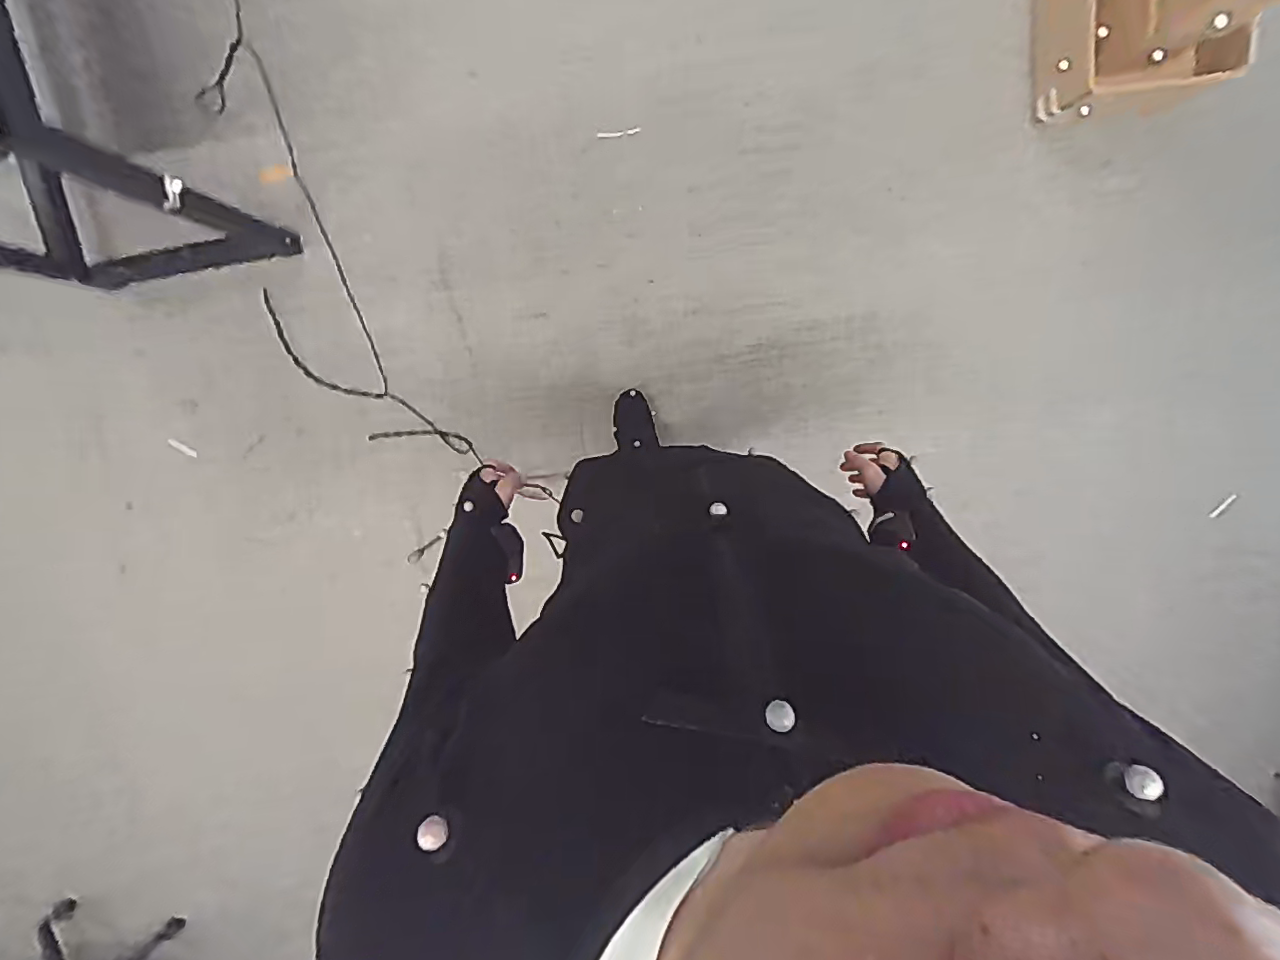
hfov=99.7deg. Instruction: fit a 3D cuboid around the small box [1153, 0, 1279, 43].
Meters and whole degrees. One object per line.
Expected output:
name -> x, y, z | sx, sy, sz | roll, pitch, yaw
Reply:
small box -> 1.269, -1.086, 1.169 | 0.168, 0.176, 0.179 | -4, 99, 1
